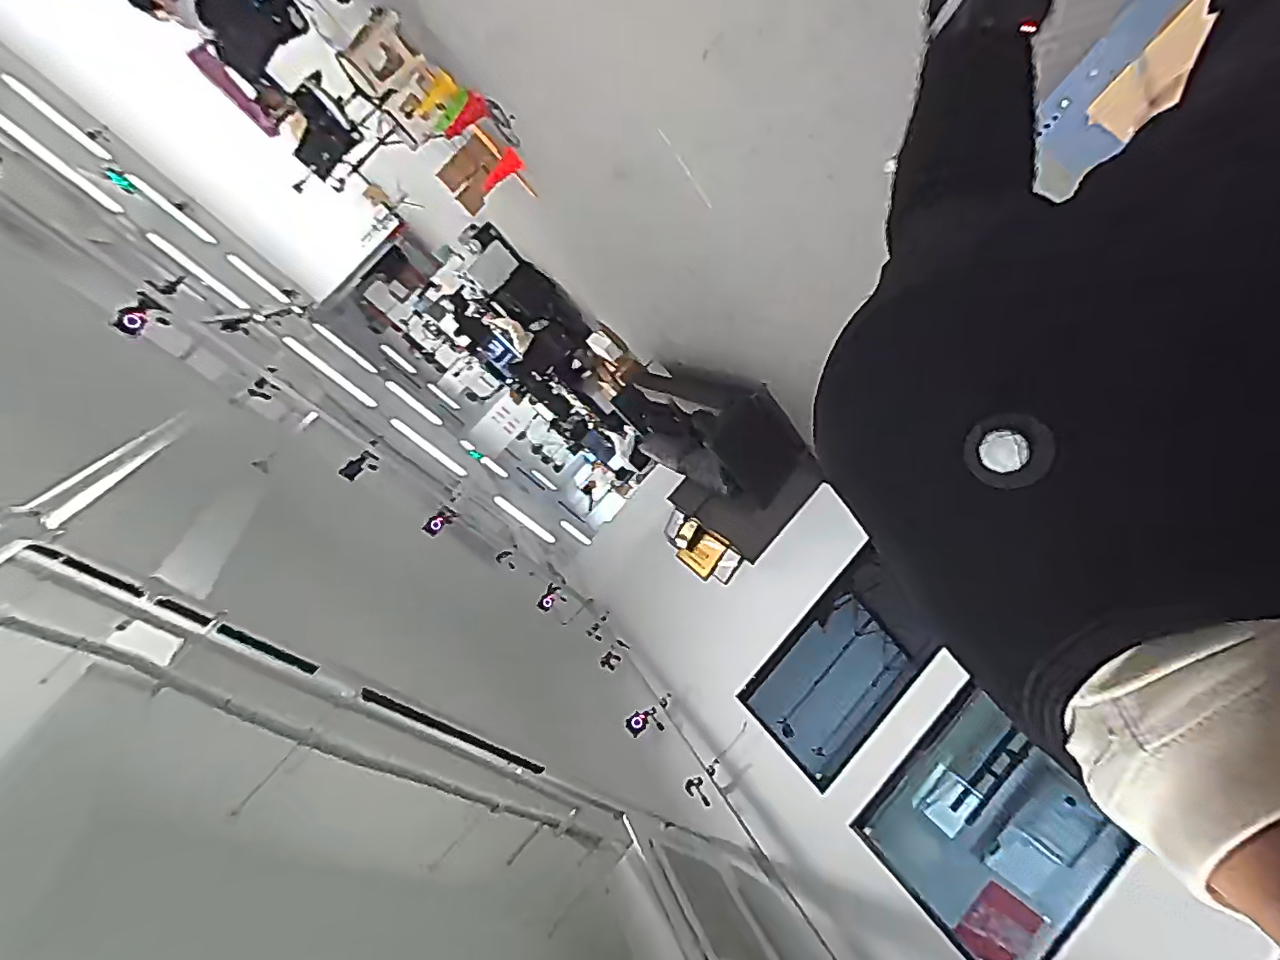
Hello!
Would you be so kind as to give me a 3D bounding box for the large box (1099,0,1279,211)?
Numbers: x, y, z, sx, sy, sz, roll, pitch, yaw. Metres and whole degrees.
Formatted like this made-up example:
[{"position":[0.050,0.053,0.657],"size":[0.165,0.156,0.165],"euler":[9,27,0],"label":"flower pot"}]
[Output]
[{"position":[0.980,-0.674,0.717],"size":[0.320,0.320,0.408],"euler":[42,177,5],"label":"large box"}]
